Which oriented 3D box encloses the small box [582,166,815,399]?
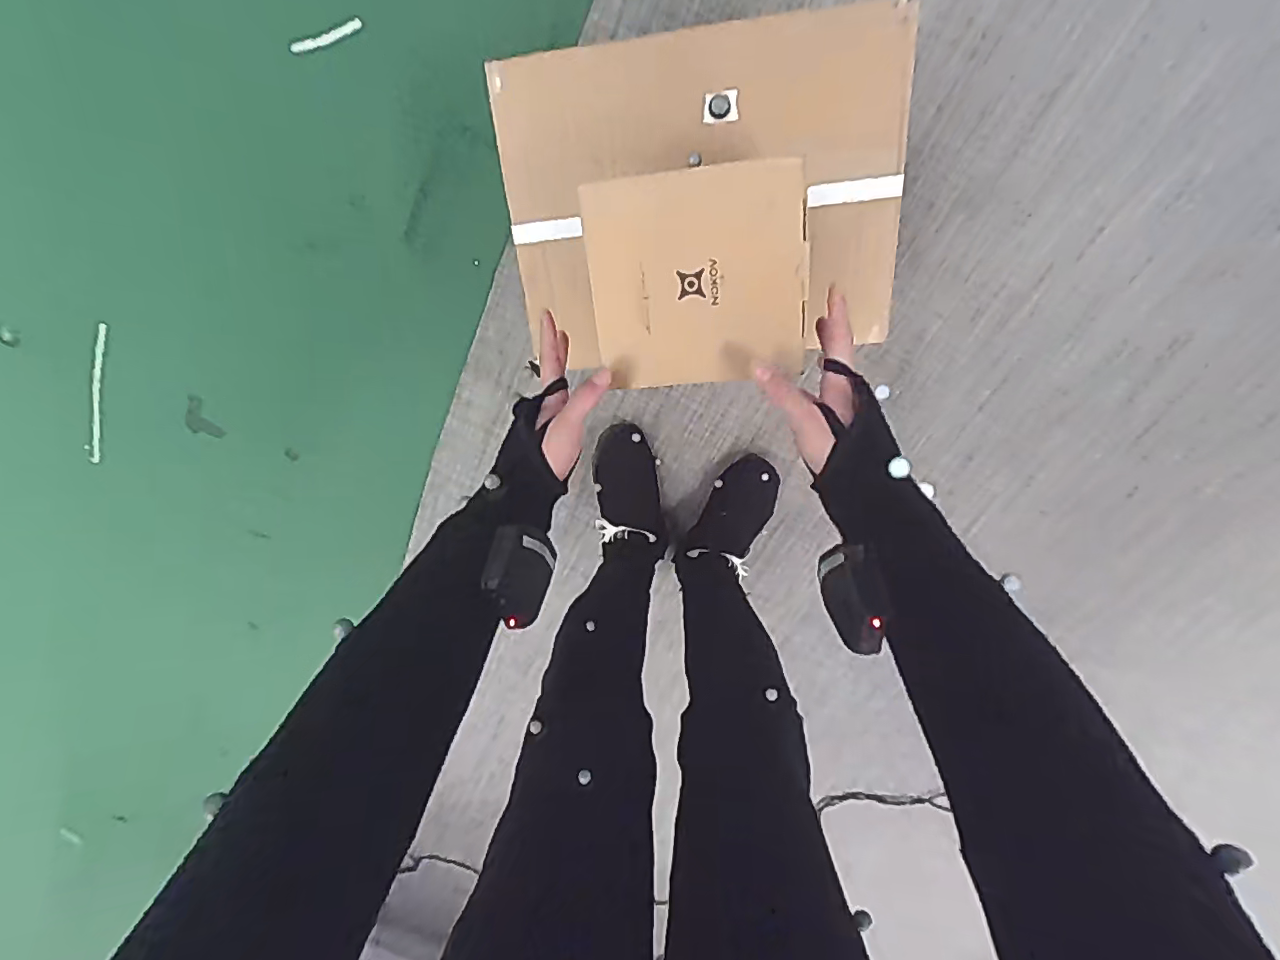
[{"bbox_3d":[0.055,-0.181,0.503,0.179,0.176,0.168,-3,112,8],"label":"small box"}]
